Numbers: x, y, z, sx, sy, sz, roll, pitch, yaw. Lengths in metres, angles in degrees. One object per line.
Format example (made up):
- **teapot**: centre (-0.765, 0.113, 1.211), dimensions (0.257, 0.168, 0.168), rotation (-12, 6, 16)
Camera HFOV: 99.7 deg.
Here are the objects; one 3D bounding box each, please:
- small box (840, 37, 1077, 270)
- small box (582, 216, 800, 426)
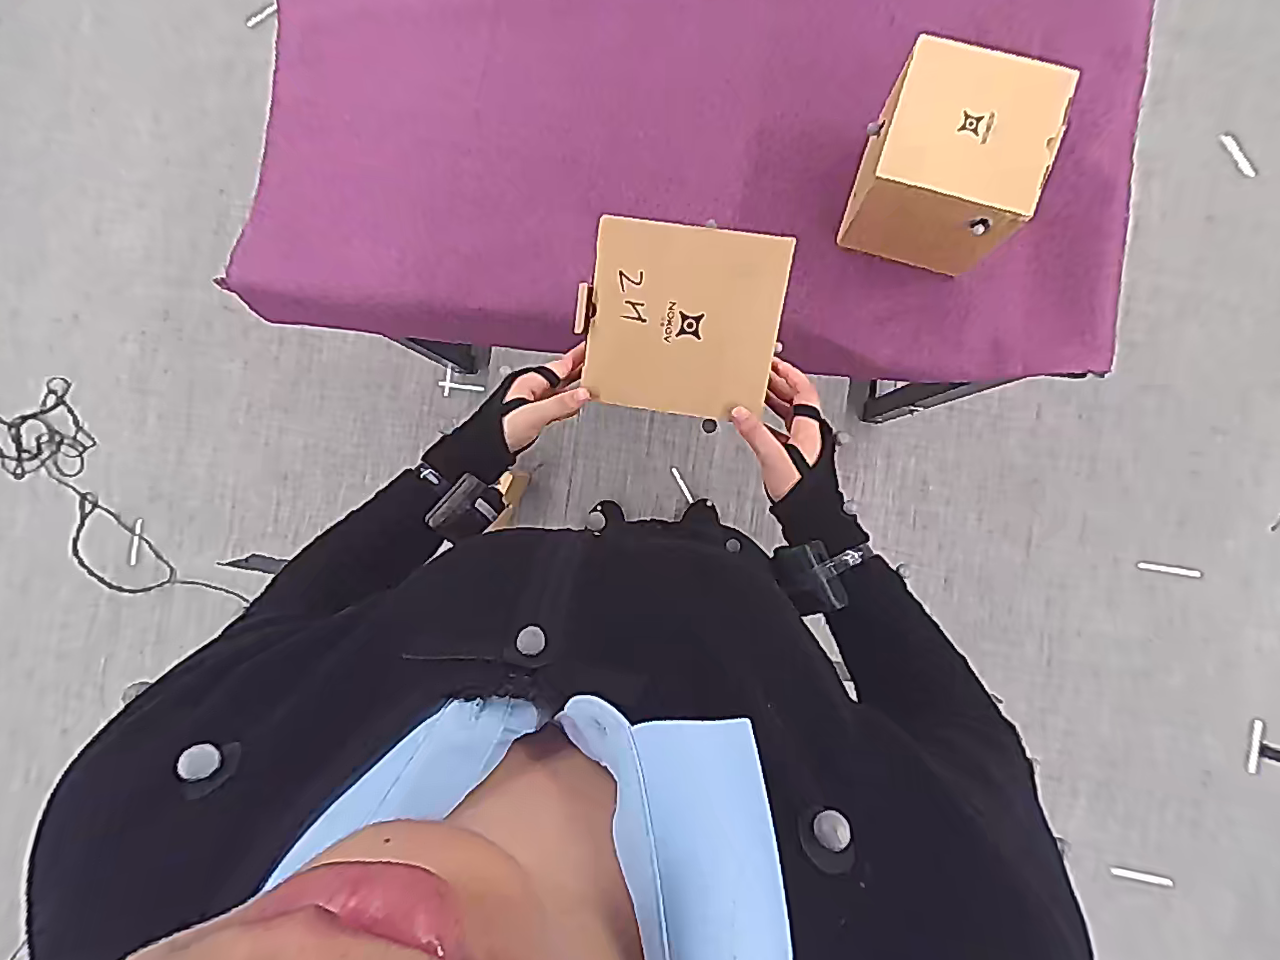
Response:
- **small box**: centre (0.370, -0.383, 0.666), dimensions (0.179, 0.176, 0.168), rotation (17, 90, 5)
- **small box**: centre (0.051, -0.158, 0.564), dimensions (0.179, 0.176, 0.168), rotation (10, 103, 6)
